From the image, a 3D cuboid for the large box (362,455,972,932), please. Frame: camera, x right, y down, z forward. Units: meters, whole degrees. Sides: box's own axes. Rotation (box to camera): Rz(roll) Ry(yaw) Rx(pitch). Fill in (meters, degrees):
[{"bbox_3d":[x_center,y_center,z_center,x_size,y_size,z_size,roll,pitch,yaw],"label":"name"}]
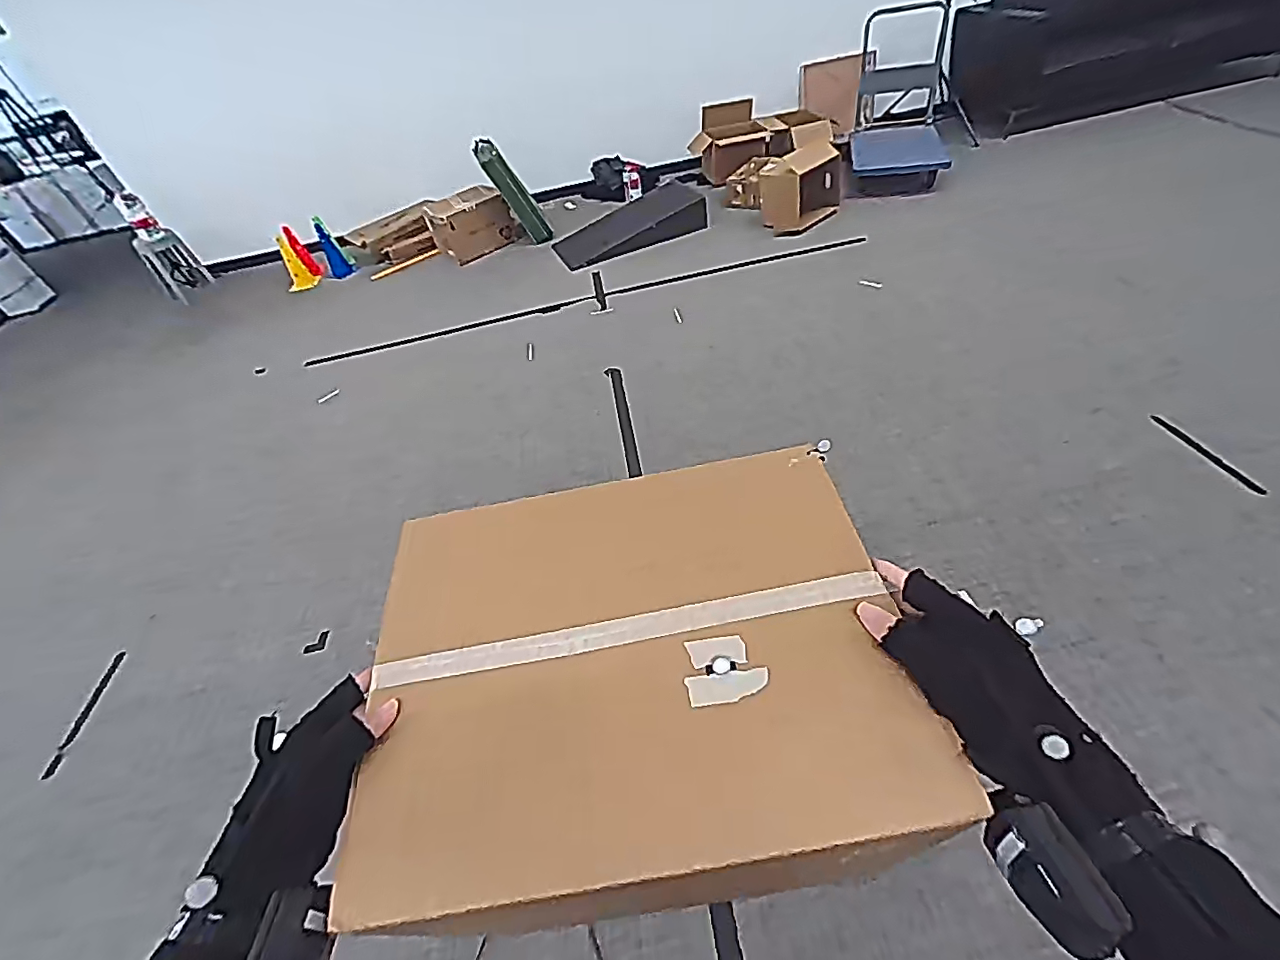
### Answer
[{"bbox_3d":[0.014,0.220,0.548,0.408,0.320,0.320,-10,49,0],"label":"large box"}]
